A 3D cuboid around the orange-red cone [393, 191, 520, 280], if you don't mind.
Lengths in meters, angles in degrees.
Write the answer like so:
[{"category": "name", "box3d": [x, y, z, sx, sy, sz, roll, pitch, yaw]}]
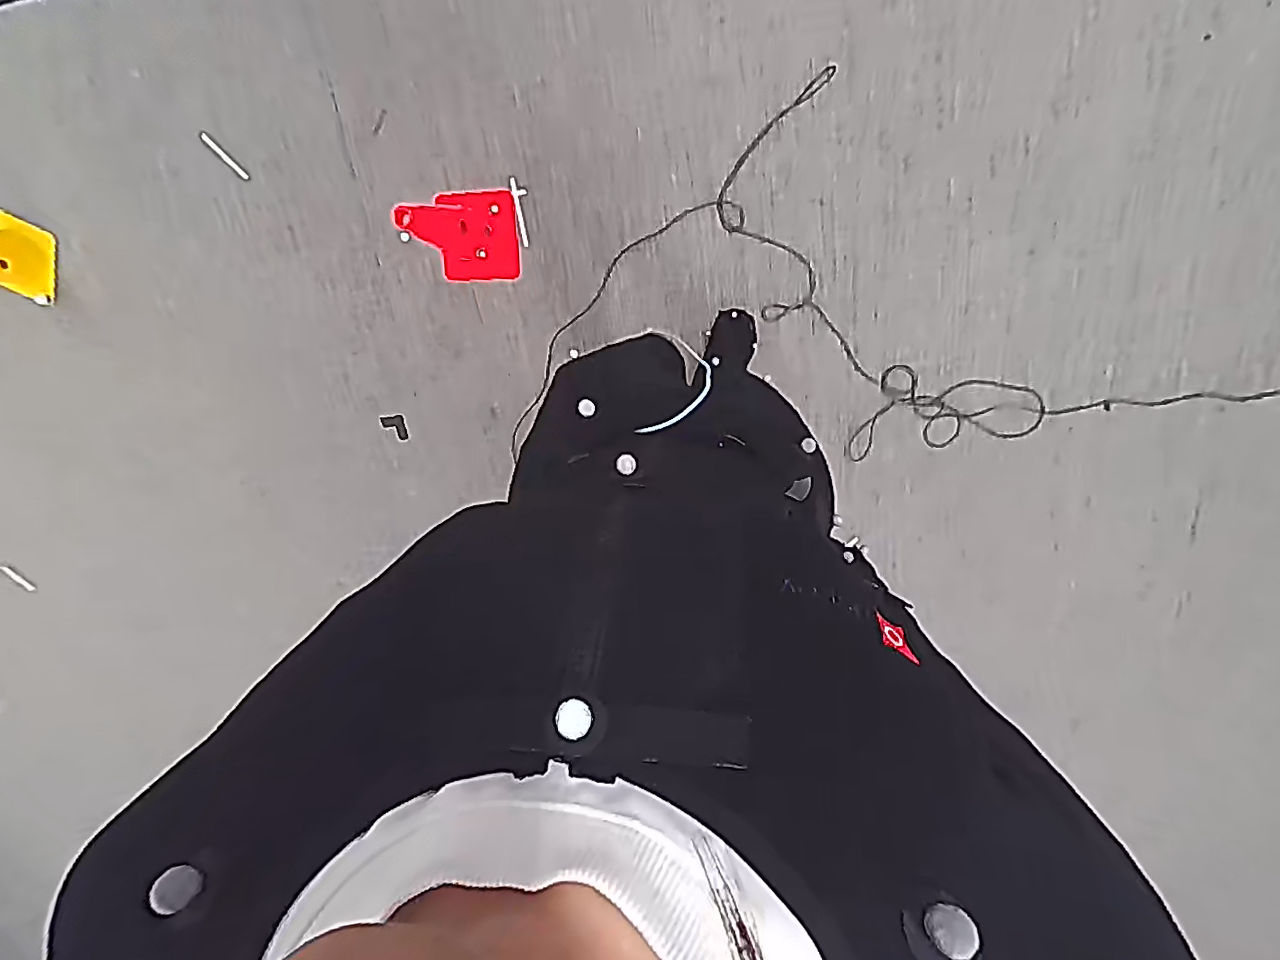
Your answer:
[{"category": "orange-red cone", "box3d": [-0.413, -0.540, 1.149, 0.199, 0.360, 0.198, 2, 108, 8]}]
